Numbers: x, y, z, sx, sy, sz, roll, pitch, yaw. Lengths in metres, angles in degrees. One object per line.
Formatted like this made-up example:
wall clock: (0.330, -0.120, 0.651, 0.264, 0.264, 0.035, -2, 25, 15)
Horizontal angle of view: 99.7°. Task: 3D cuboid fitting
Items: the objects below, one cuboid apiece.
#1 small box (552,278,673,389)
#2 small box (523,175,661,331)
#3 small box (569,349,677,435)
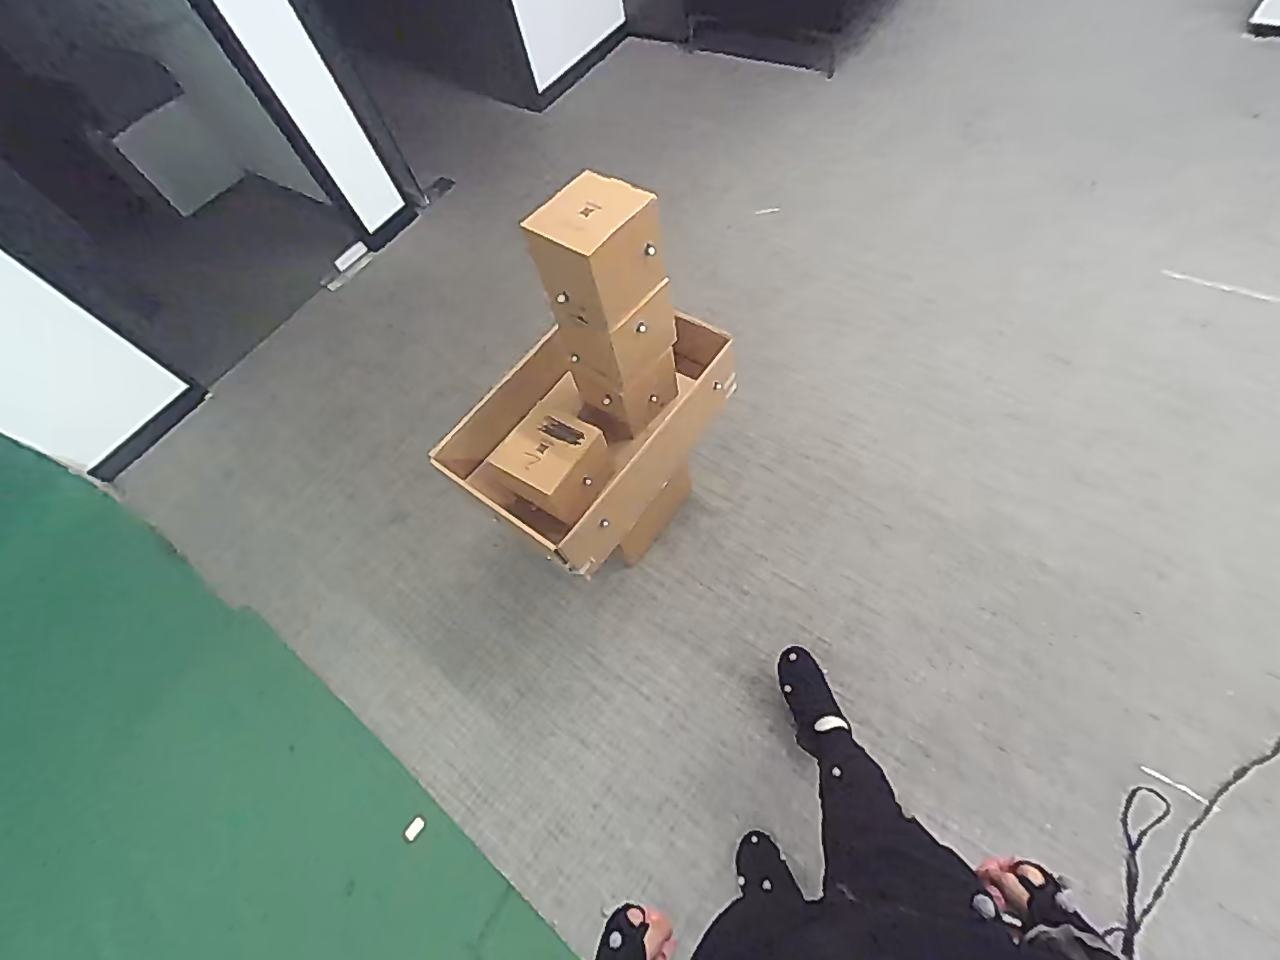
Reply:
small box: (-0.046, -0.320, 1.117, 0.168, 0.176, 0.179, 34, 71, 25)
small box: (-0.075, -0.409, 0.983, 0.168, 0.176, 0.179, 34, 71, 26)
small box: (-0.030, -0.230, 1.254, 0.179, 0.176, 0.168, 36, 72, 26)
